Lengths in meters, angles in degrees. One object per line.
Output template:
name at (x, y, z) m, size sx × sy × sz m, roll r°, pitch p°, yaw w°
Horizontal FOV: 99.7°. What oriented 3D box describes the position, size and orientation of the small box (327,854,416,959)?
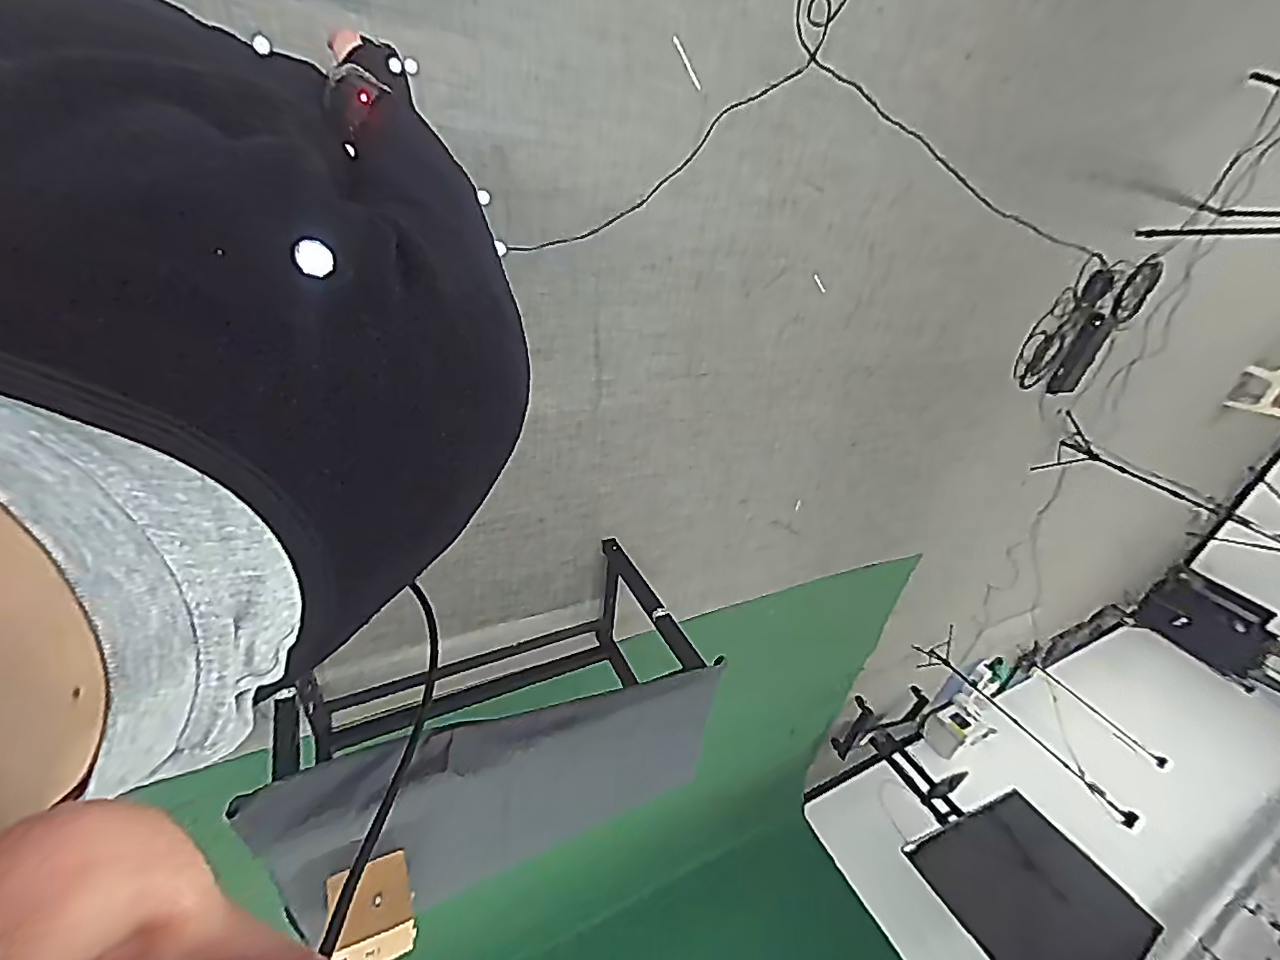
small box at (-0.660, 1.070, 1.330) m, size 0.179 × 0.176 × 0.168 m, roll -5°, pitch 123°, yaw -31°
